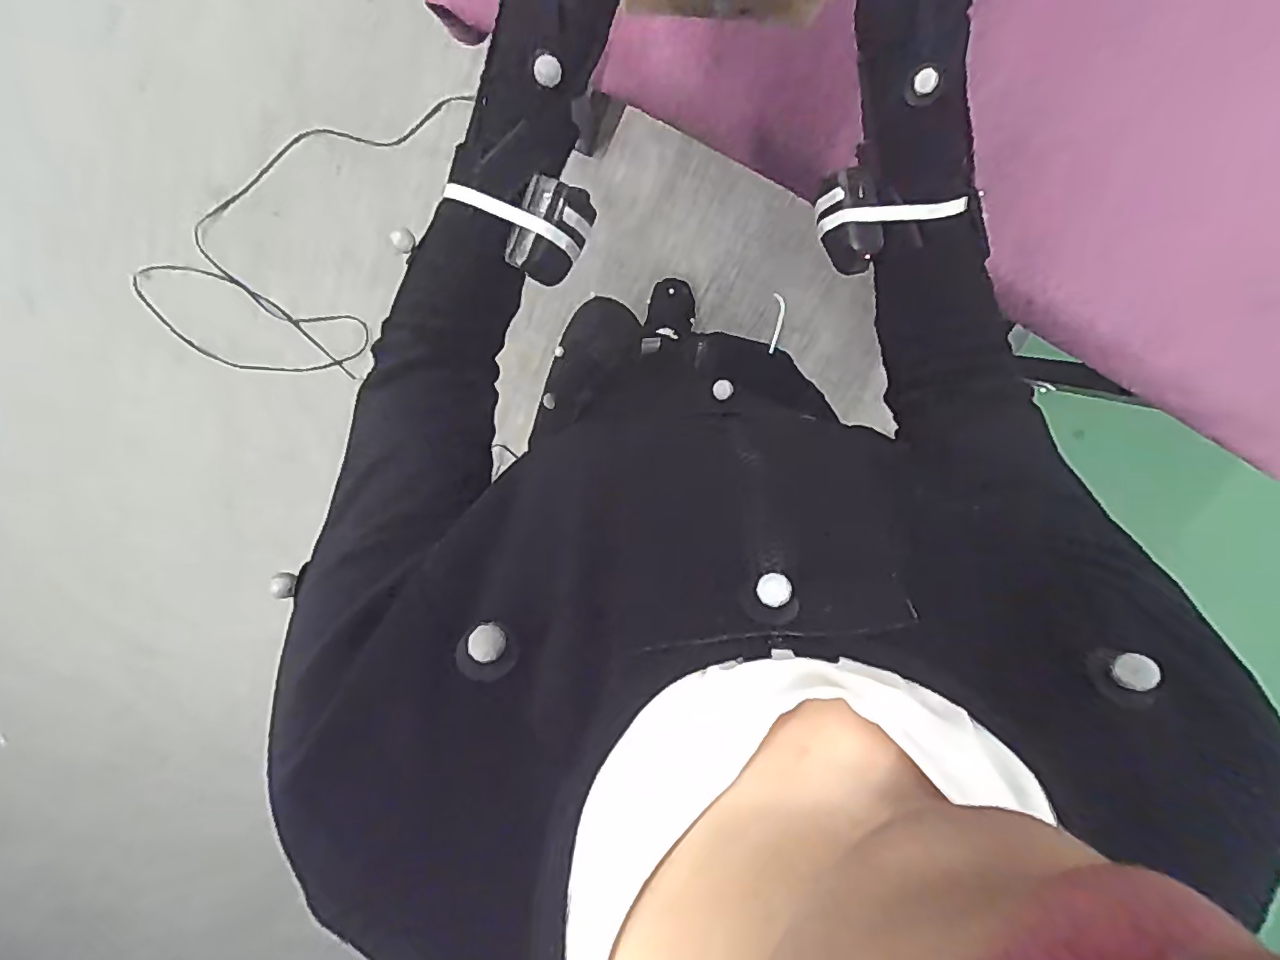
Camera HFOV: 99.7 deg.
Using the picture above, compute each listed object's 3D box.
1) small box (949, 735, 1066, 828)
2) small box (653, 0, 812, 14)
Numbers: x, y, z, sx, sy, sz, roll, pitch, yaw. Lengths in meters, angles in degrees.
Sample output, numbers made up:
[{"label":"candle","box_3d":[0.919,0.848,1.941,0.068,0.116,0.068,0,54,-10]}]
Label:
[{"label":"small box","box_3d":[1.005,0.851,1.500,0.168,0.176,0.179,25,107,-6]},{"label":"small box","box_3d":[0.072,-0.460,0.360,0.168,0.176,0.179,4,112,0]}]
